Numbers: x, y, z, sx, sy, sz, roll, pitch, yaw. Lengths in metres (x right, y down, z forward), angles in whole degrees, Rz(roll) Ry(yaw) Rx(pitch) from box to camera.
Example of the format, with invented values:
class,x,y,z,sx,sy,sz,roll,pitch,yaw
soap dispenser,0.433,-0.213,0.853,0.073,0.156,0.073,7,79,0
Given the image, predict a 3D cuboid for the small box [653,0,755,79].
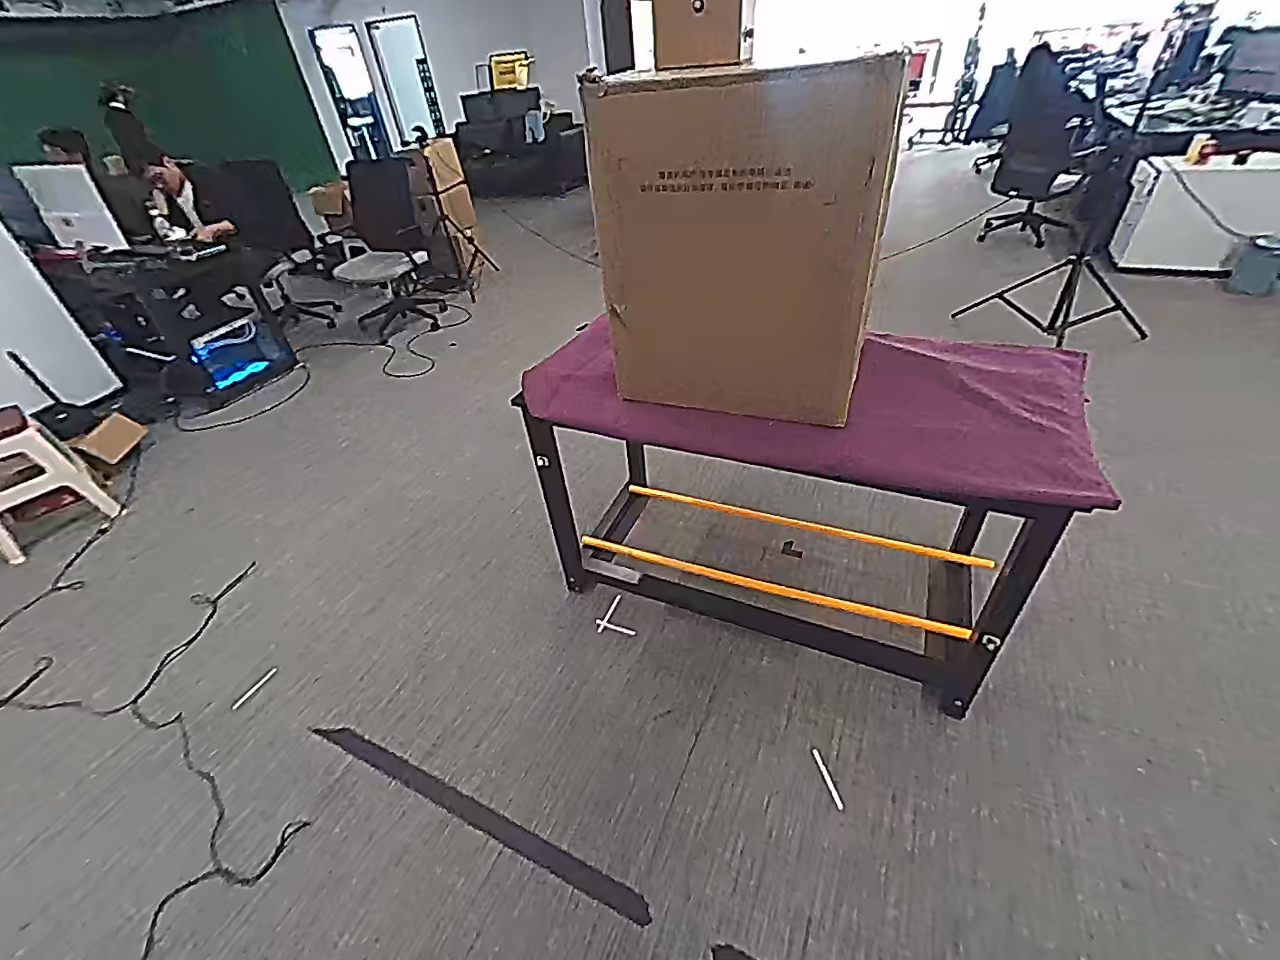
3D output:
class,x,y,z,sx,sy,sz,roll,pitch,yaw
small box,0.123,-0.875,1.021,0.168,0.176,0.179,9,41,16
